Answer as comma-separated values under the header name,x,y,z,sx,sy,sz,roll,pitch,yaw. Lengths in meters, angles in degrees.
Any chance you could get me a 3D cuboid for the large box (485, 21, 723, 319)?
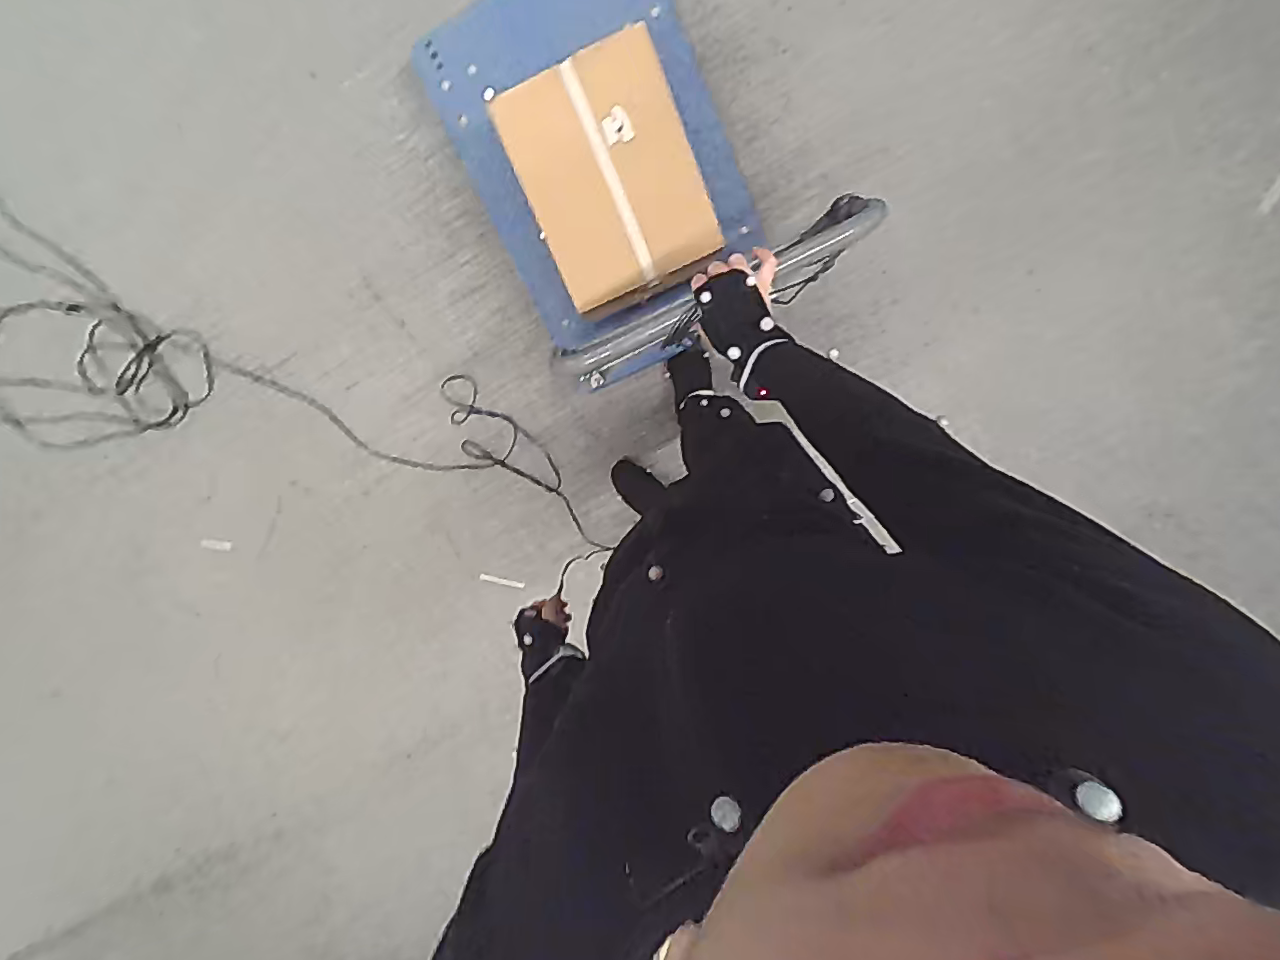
name,x,y,z,sx,sy,sz,roll,pitch,yaw
large box,-0.057,-0.596,1.133,0.320,0.320,0.408,-23,102,5
